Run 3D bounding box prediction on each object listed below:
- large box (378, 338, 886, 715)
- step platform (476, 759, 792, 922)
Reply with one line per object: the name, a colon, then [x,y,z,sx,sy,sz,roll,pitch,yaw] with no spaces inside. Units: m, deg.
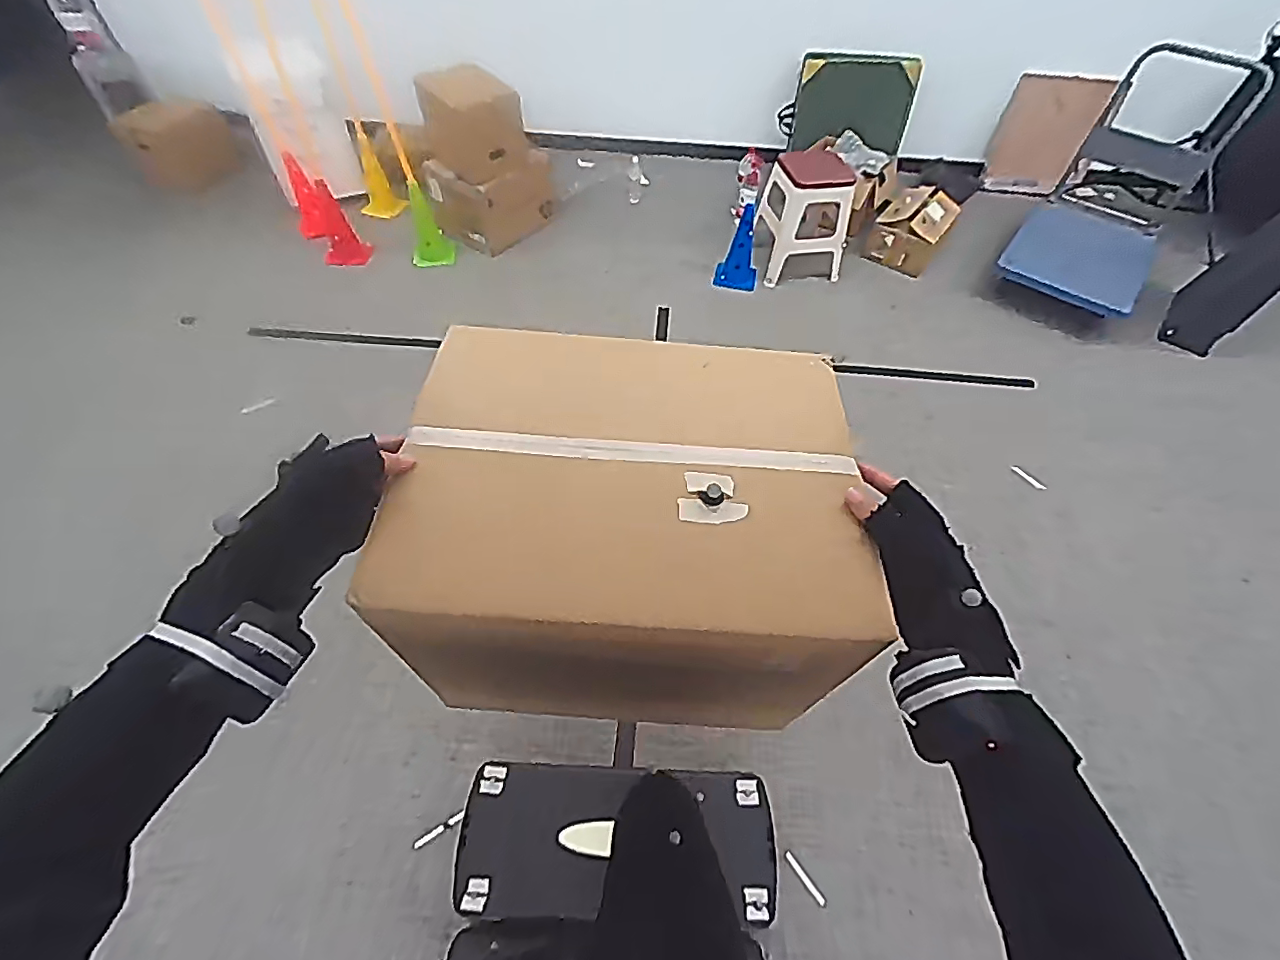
large box: [-0.010,0.068,0.621,0.408,0.320,0.320,4,55,-2]
step platform: [-0.013,0.804,1.220,0.684,0.204,0.286,3,54,-2]
